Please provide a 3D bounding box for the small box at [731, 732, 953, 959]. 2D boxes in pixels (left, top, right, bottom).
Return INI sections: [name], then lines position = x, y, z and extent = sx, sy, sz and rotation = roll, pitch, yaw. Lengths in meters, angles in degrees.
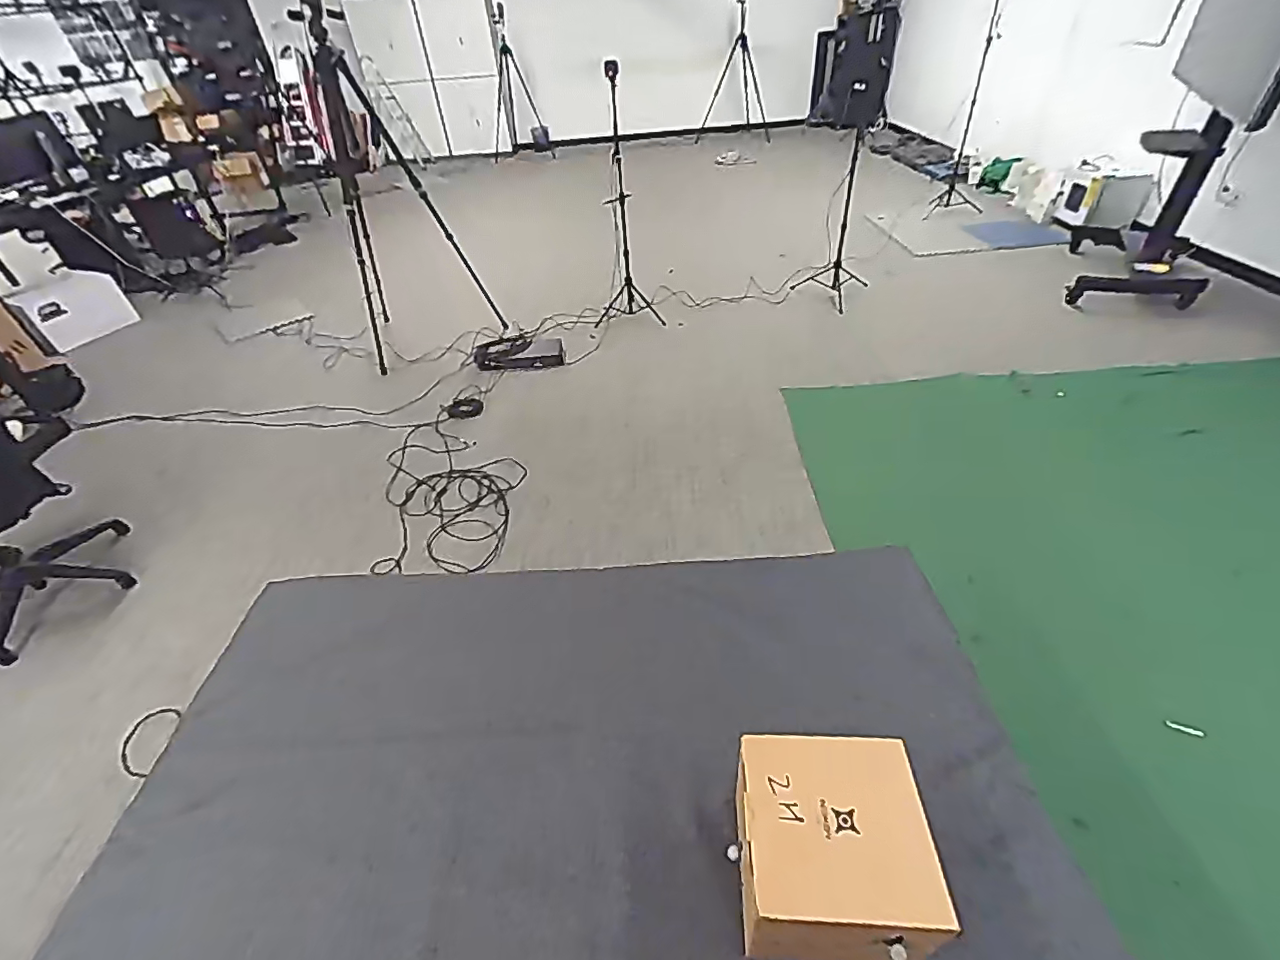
[small box]
position = 0.192, 0.391, 0.576
extent = 0.179, 0.176, 0.168
rotation = -1, 39, 6
